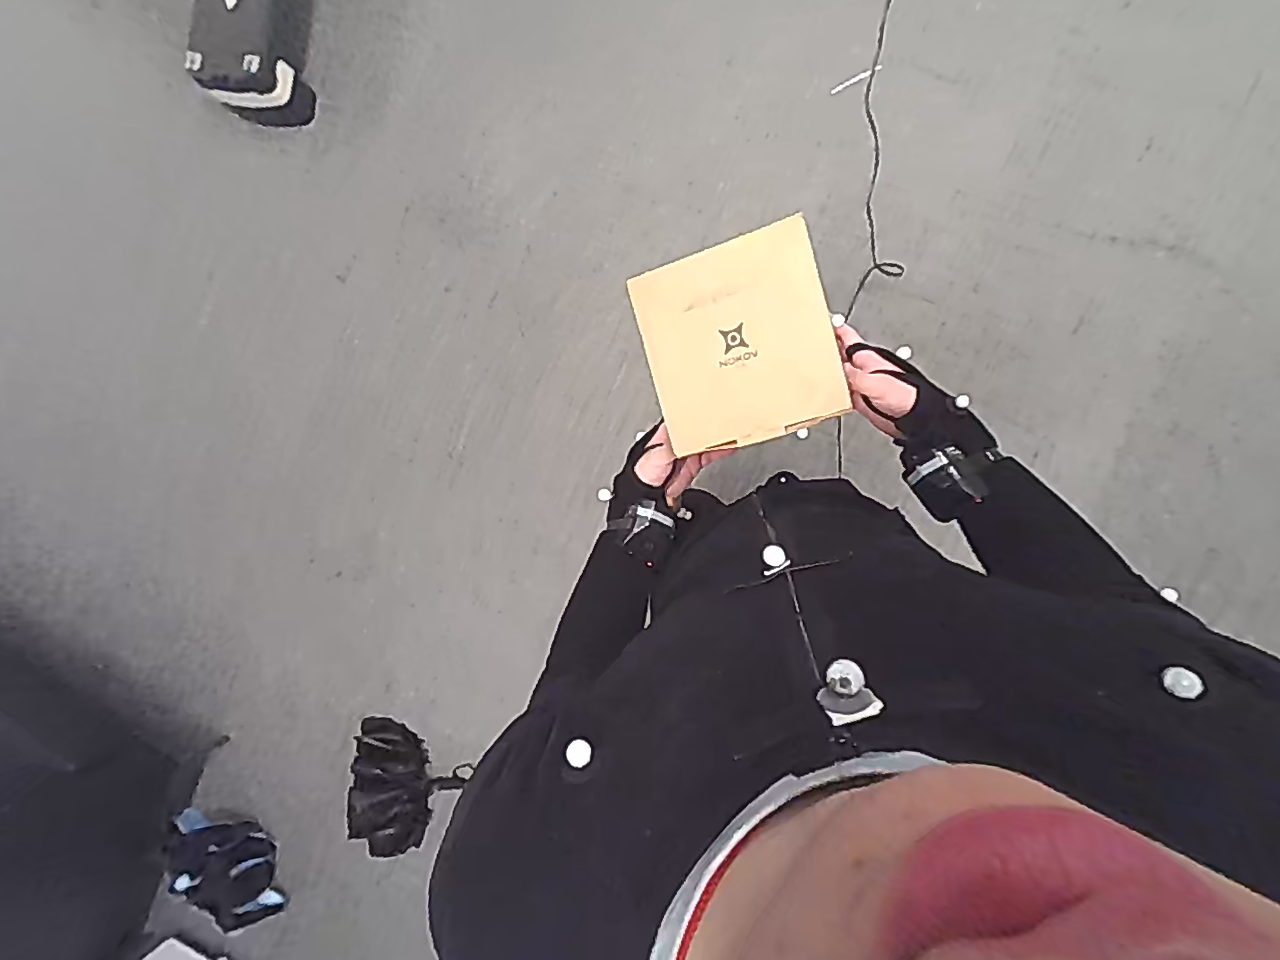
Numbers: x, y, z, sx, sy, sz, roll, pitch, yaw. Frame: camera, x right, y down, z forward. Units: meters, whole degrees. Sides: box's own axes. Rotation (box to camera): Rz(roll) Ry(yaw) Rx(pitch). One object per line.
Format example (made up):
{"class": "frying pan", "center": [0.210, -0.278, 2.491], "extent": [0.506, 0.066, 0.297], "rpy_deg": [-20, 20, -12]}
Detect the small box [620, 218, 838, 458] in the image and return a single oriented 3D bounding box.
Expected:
{"class": "small box", "center": [0.100, -0.133, 0.562], "extent": [0.168, 0.176, 0.179], "rpy_deg": [-15, 93, 18]}
